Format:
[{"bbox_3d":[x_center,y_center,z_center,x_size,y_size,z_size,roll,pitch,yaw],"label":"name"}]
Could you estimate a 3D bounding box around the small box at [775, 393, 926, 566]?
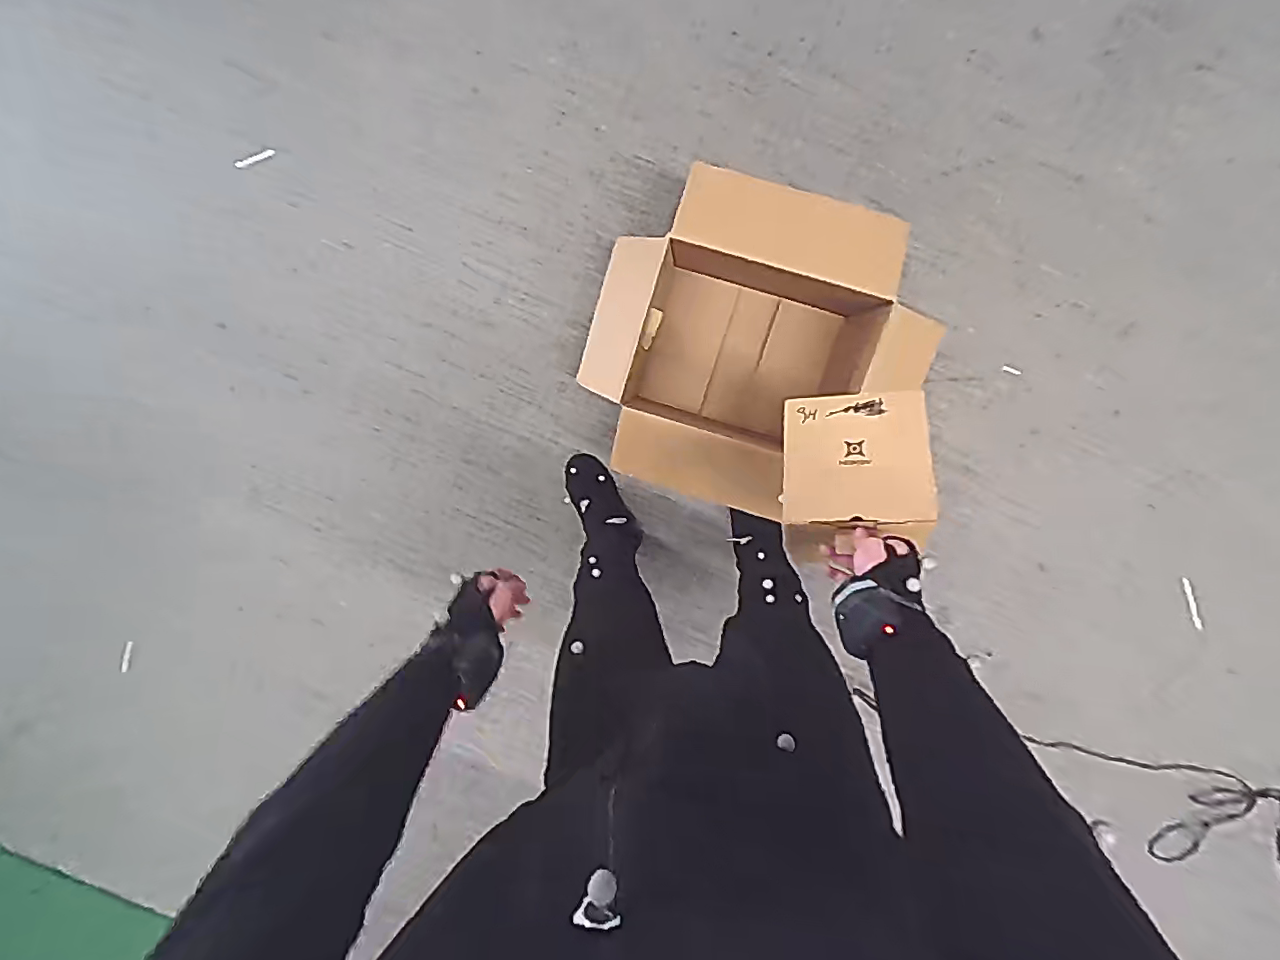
[{"bbox_3d":[0.276,0.007,0.719,0.168,0.176,0.179,0,63,20],"label":"small box"}]
